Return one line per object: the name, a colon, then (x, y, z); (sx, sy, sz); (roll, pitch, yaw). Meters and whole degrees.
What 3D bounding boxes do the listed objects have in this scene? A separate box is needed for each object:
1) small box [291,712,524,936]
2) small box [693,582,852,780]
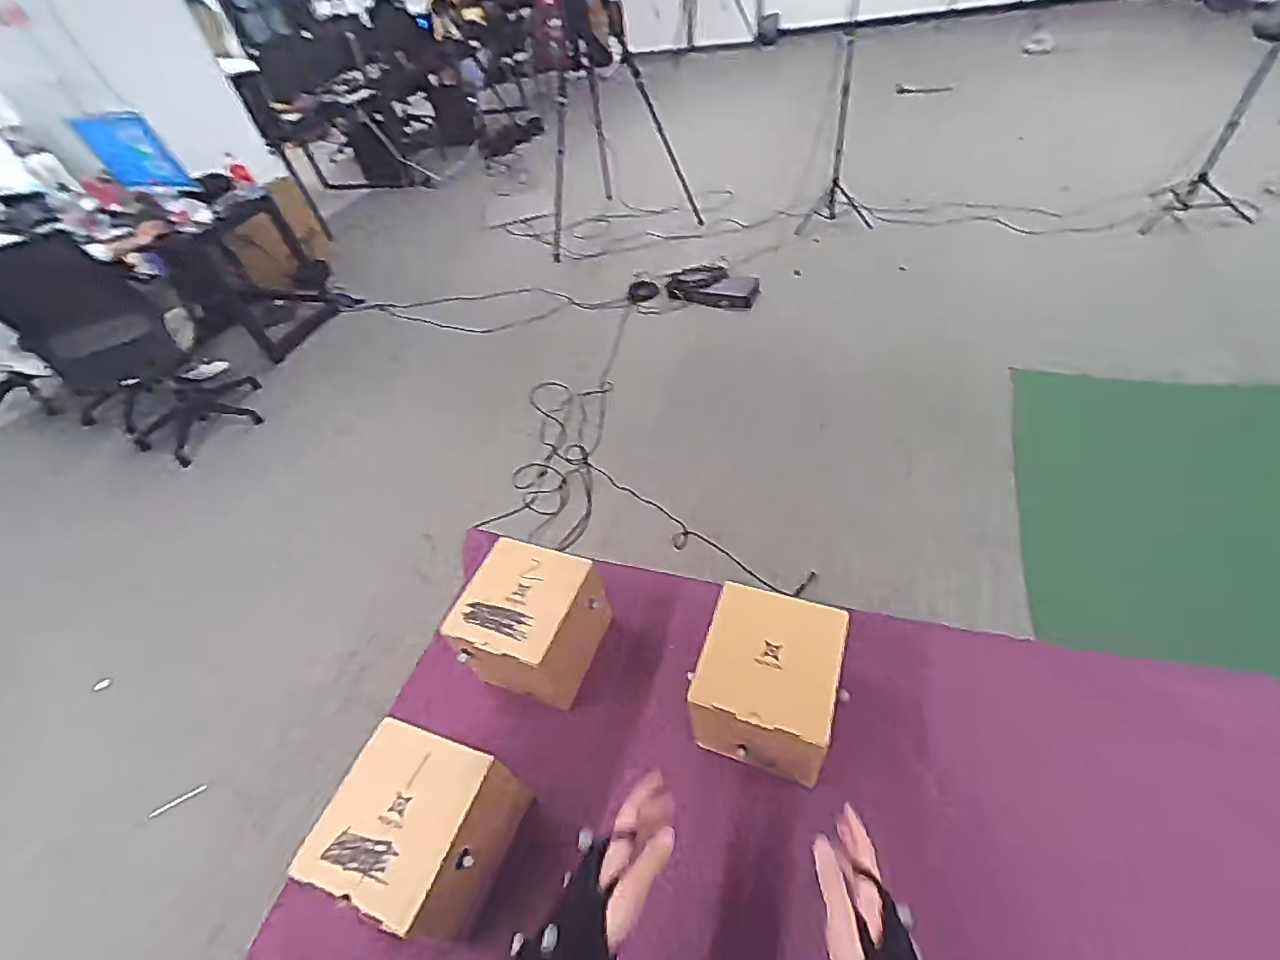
small box: (-0.266, 0.424, 0.667); (0.168, 0.176, 0.179); (11, 49, 19)
small box: (0.177, 0.272, 0.733); (0.168, 0.176, 0.179); (12, 52, 20)
